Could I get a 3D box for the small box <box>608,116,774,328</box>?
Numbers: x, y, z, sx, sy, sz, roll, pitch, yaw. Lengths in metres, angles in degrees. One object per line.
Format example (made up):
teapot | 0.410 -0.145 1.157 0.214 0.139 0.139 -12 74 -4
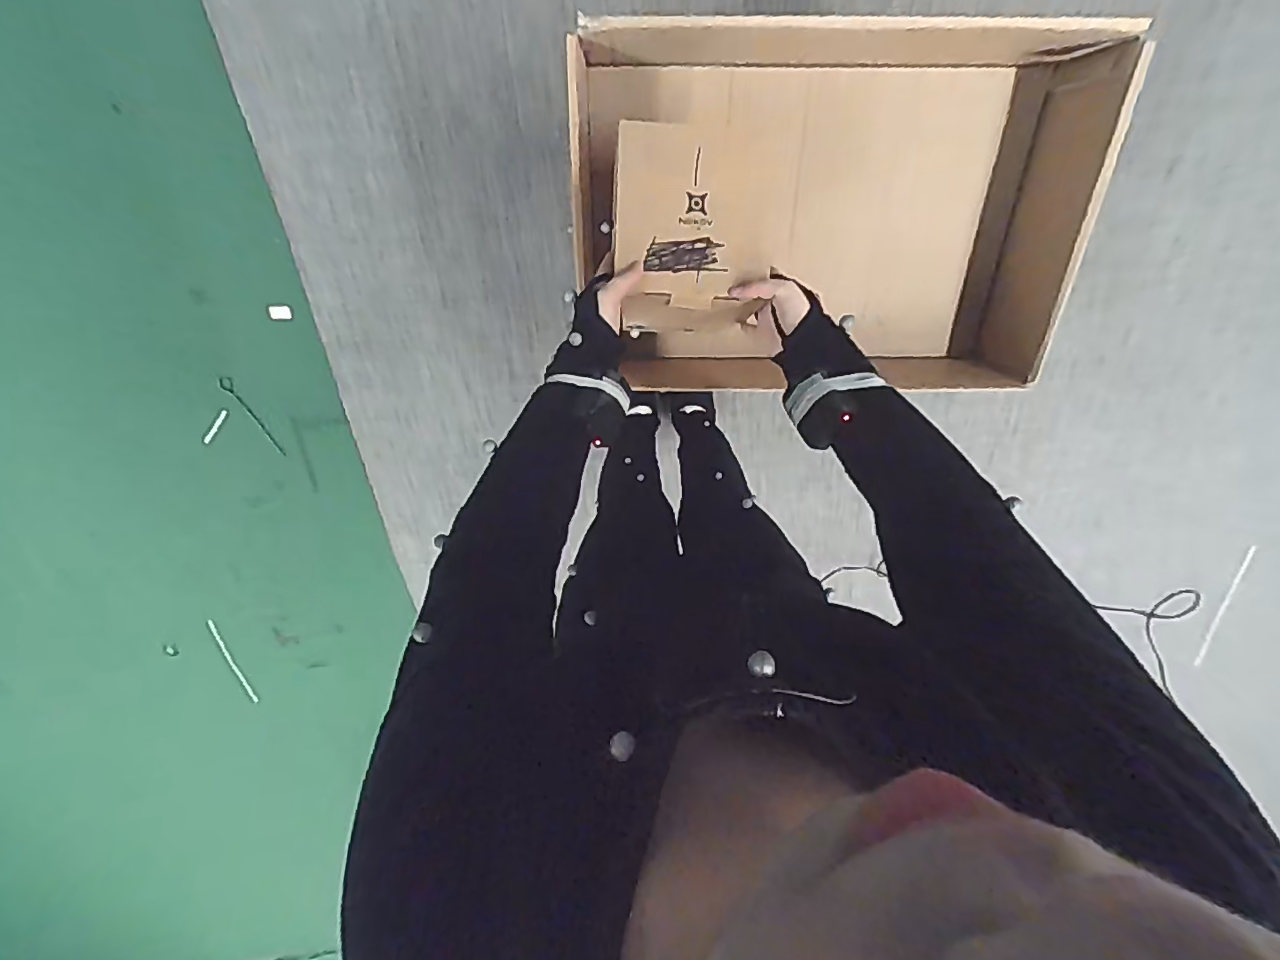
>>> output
small box | 0.049 -0.286 0.640 0.168 0.176 0.179 1 92 -6
